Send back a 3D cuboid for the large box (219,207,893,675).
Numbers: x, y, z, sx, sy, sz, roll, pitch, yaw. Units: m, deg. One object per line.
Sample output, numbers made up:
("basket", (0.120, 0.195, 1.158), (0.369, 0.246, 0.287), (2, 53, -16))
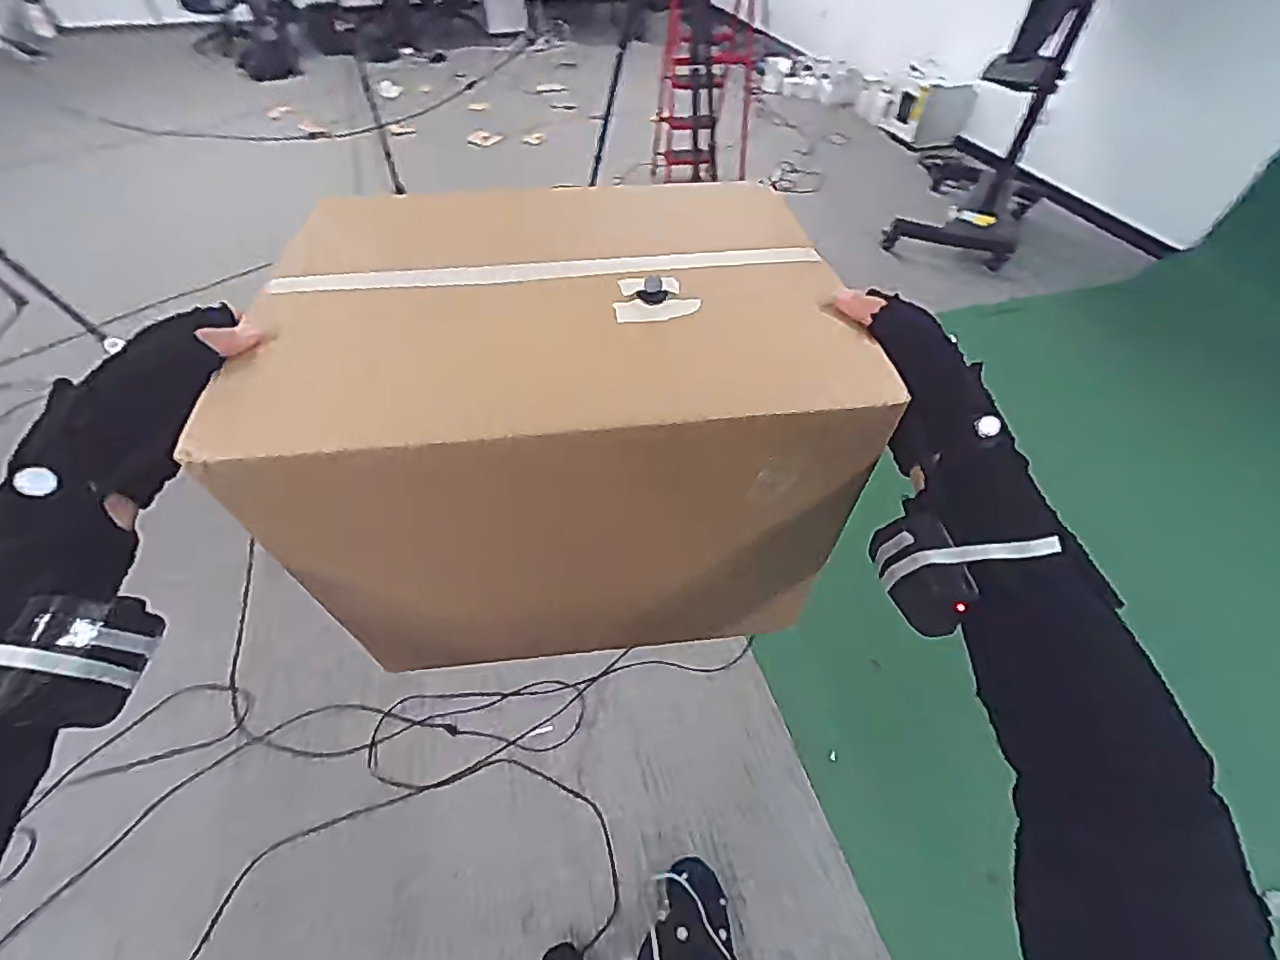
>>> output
("large box", (-0.059, -0.037, 0.522), (0.408, 0.320, 0.320), (-4, 50, -5))
